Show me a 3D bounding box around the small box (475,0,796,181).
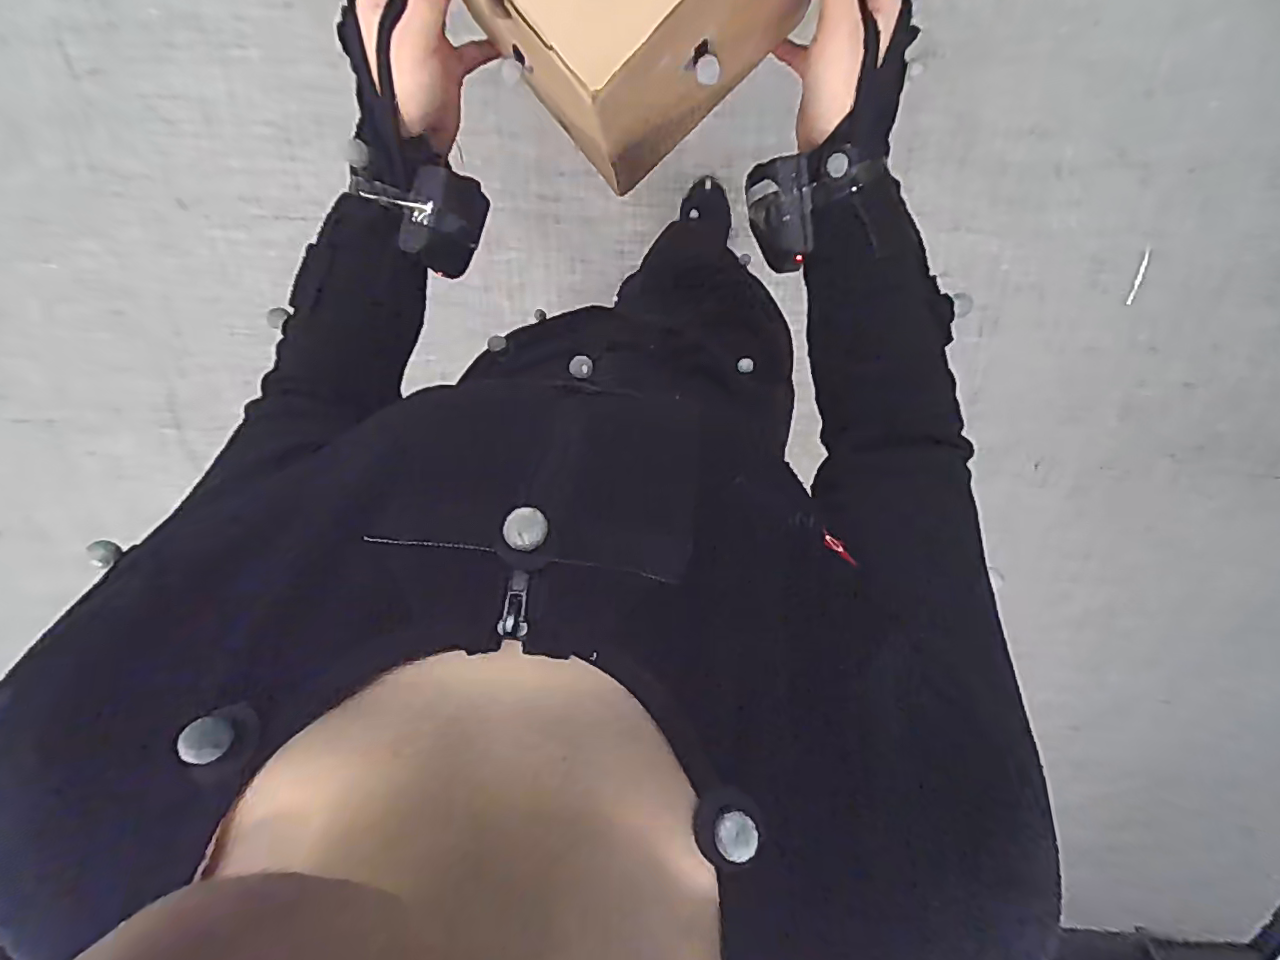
[{"bbox_3d":[-0.006,-0.316,0.314,0.179,0.176,0.168,-41,98,12],"label":"small box"}]
